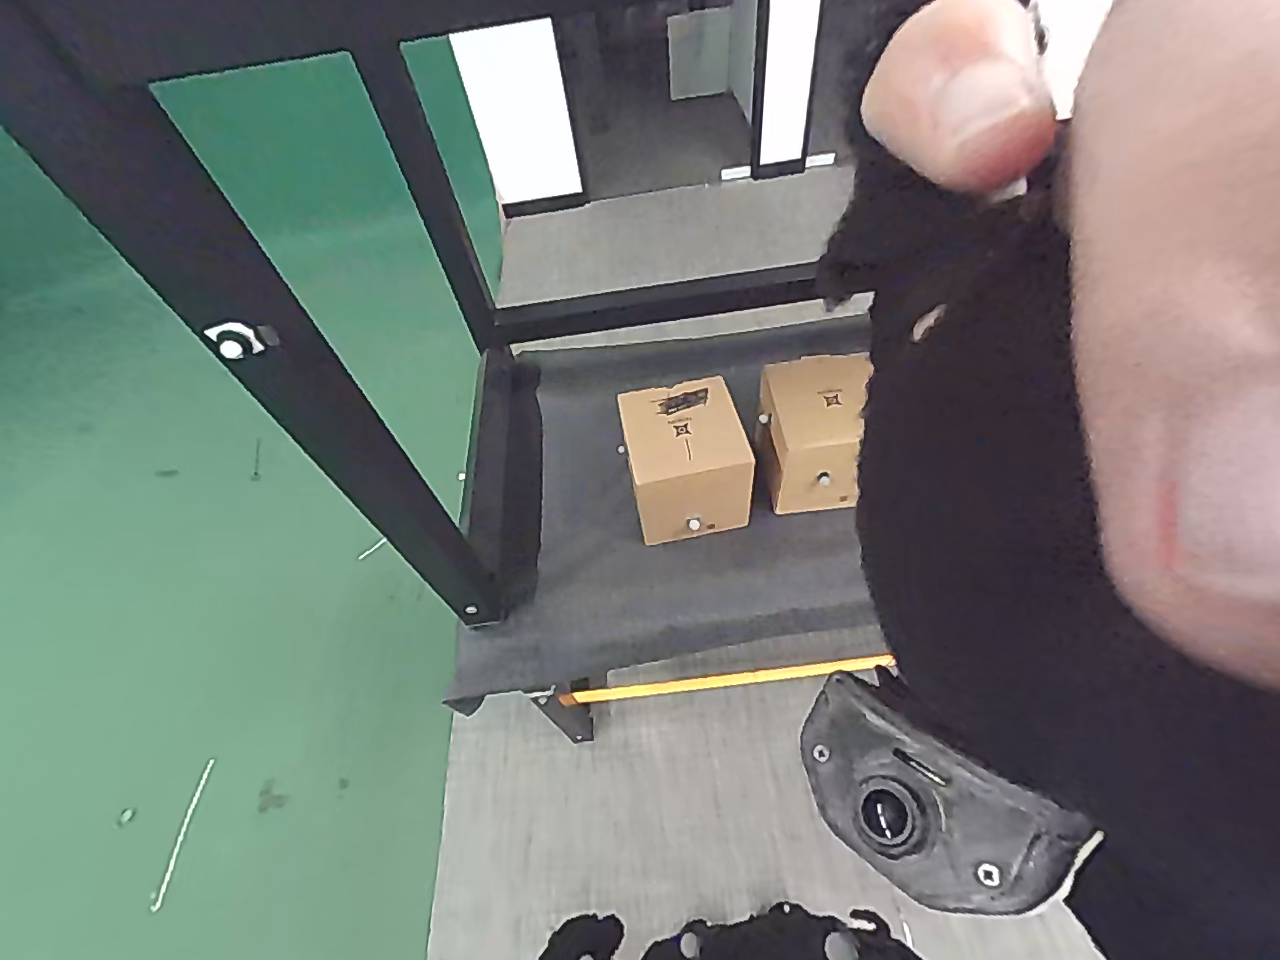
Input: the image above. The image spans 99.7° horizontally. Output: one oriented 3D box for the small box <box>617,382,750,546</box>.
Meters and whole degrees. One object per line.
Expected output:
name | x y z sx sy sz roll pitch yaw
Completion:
small box | 0.063 -0.022 0.845 0.168 0.176 0.179 -12 53 -2
